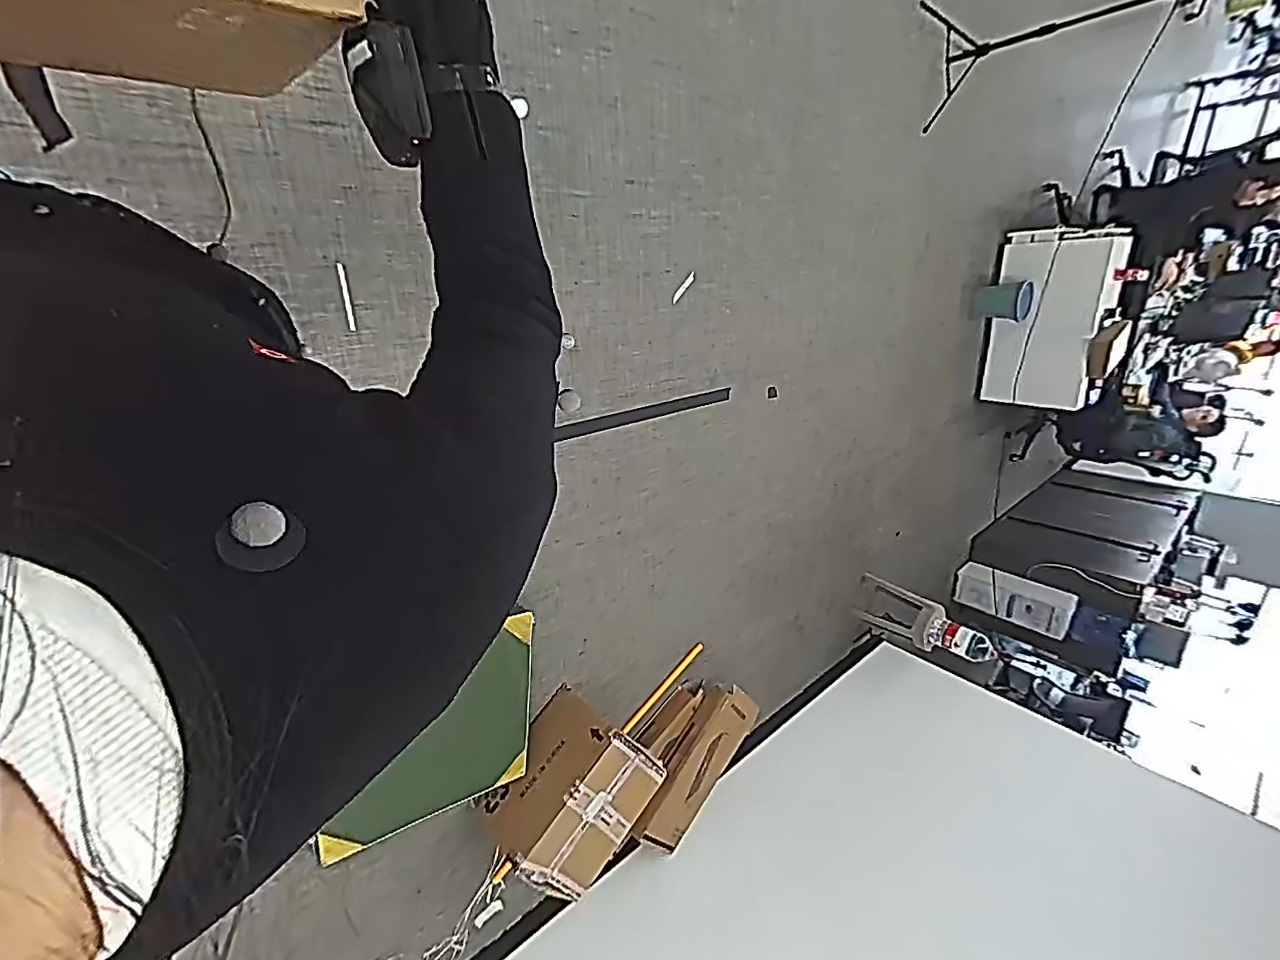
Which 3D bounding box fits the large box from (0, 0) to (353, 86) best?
[{"bbox_3d":[-0.418,-0.414,0.246,0.408,0.320,0.320,-20,124,-37],"label":"large box"}]
